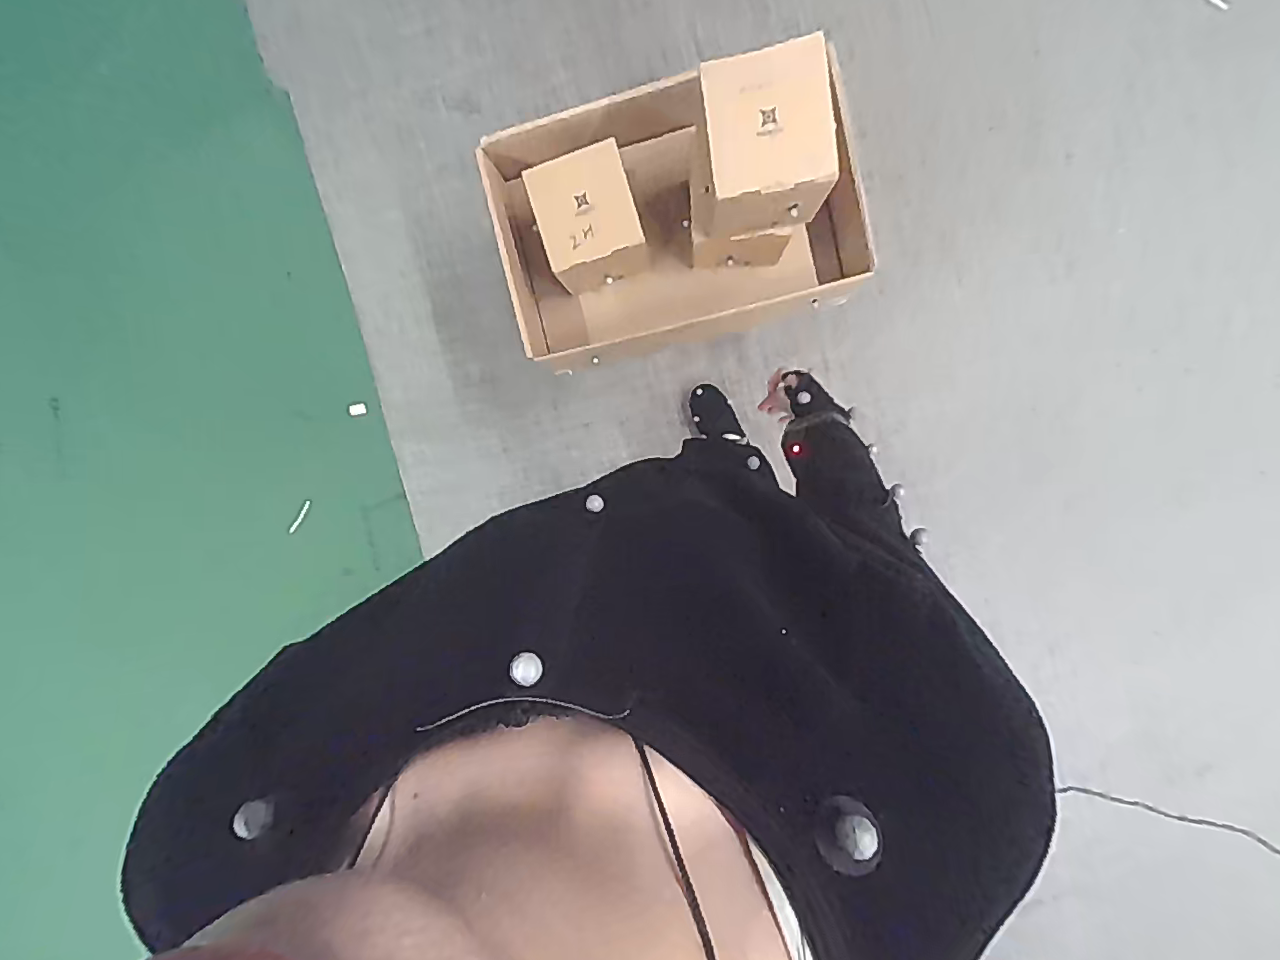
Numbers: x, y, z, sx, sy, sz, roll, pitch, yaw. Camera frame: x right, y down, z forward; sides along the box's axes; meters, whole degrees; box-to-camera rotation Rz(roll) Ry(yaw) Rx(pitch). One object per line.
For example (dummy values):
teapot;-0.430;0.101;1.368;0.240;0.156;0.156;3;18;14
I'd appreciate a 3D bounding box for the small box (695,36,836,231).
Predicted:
small box;0.172;-0.478;0.779;0.168;0.176;0.179;-7;95;4

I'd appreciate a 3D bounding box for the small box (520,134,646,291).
small box;-0.093;-0.463;0.963;0.168;0.176;0.179;-16;95;6
